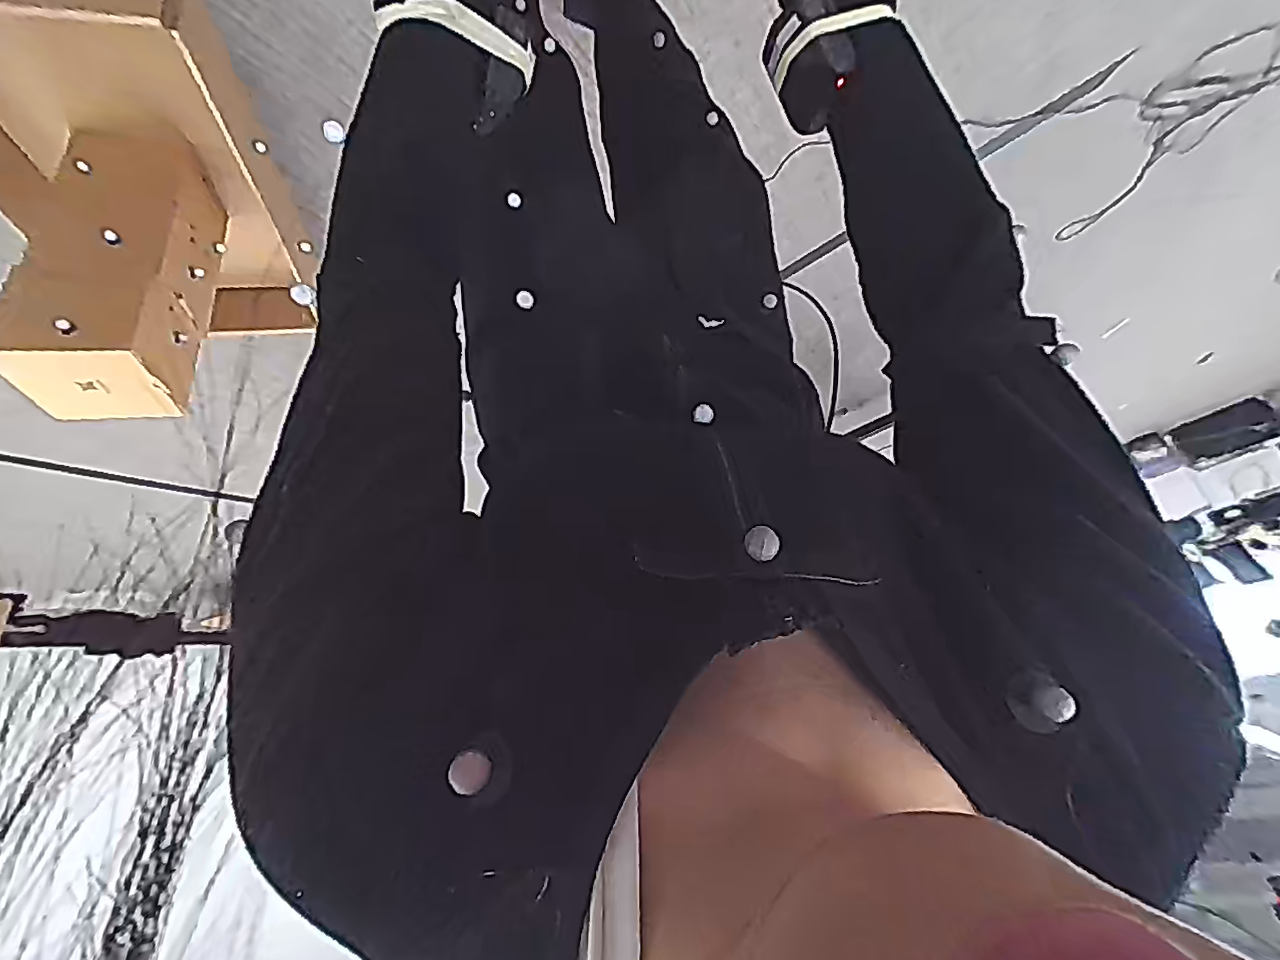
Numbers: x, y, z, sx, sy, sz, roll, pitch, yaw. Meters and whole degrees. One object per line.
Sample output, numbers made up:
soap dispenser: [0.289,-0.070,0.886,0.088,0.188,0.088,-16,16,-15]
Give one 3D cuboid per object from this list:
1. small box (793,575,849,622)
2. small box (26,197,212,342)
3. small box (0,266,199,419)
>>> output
small box: [0.820,0.538,2.450,0.168,0.176,0.179,-28,151,26]
small box: [-0.866,-0.355,0.924,0.179,0.176,0.168,-5,153,-18]
small box: [-0.839,-0.214,0.847,0.179,0.176,0.168,-5,153,-17]
